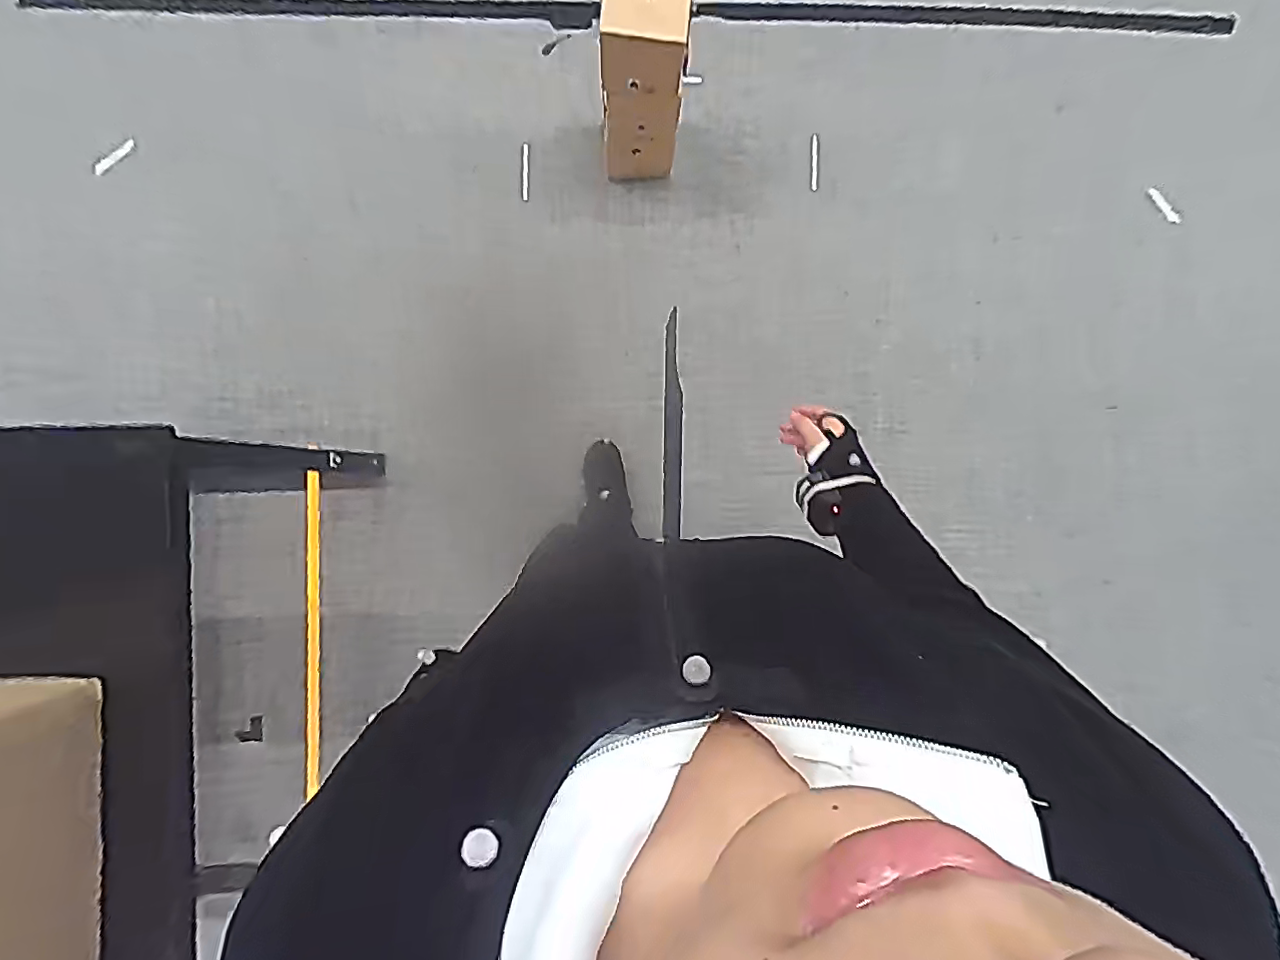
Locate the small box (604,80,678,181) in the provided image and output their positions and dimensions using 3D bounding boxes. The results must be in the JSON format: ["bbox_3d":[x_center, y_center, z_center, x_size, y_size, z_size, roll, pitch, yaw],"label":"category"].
[{"bbox_3d":[0.000,-0.900,1.402,0.179,0.176,0.168,-4,90,-3],"label":"small box"}]

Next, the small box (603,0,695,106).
[{"bbox_3d":[0.018,-0.894,1.075,0.168,0.176,0.179,5,91,-1],"label":"small box"}]

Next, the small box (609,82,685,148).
[{"bbox_3d":[0.012,-0.901,1.237,0.168,0.176,0.179,0,90,-2],"label":"small box"}]
